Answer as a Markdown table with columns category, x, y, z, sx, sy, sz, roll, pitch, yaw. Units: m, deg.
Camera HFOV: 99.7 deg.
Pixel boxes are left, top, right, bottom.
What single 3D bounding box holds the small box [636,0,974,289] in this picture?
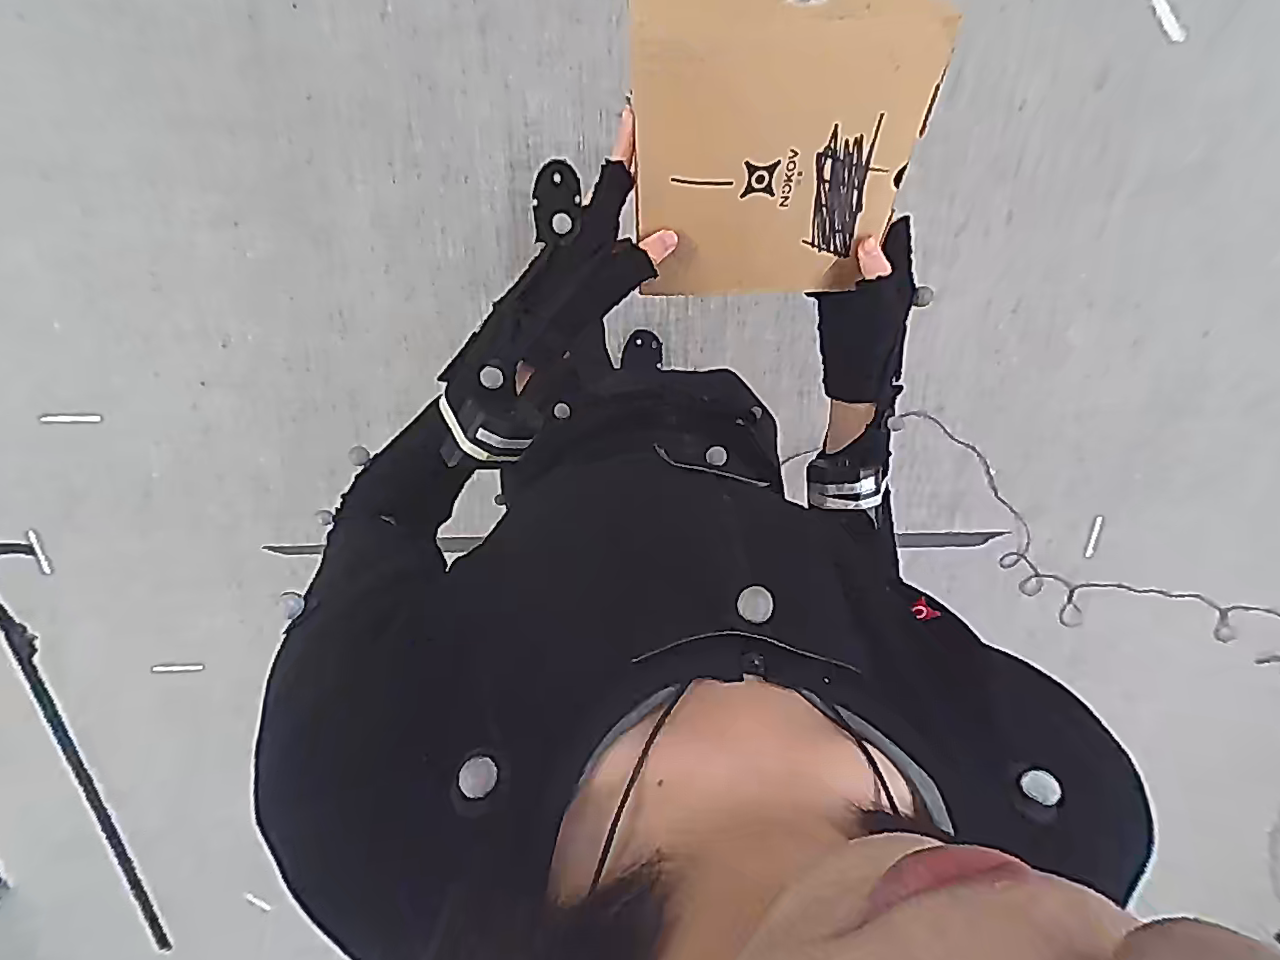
| category | x | y | z | sx | sy | sz | roll | pitch | yaw |
| --- | --- | --- | --- | --- | --- | --- | --- | --- | --- |
| small box | 0.087 | -0.259 | 0.391 | 0.179 | 0.176 | 0.168 | -1 | 142 | 0 |
